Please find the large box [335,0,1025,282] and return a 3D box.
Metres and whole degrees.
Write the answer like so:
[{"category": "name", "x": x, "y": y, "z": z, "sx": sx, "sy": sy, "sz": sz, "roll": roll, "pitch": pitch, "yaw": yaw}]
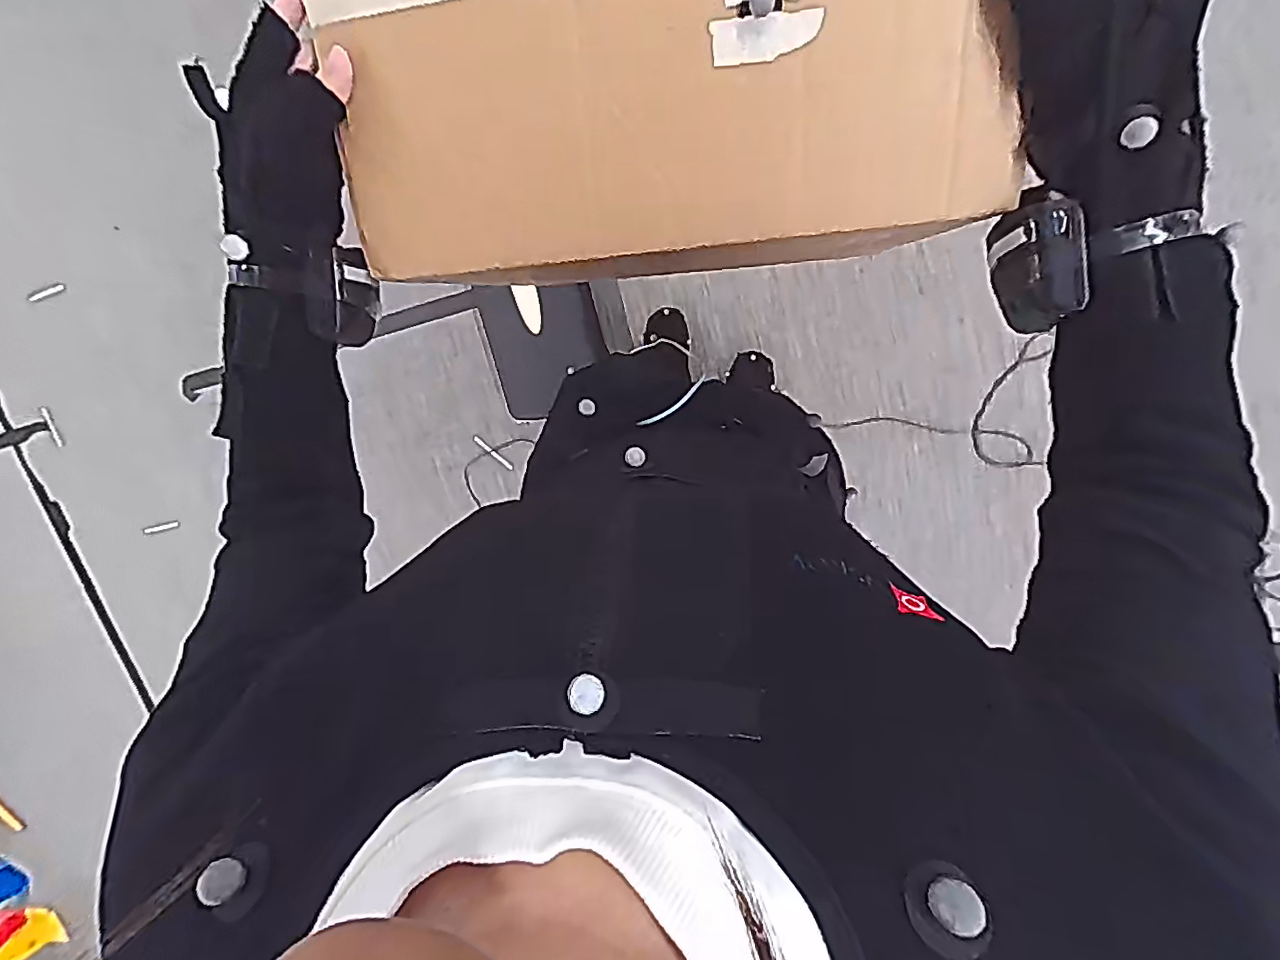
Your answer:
[{"category": "large box", "x": 0.025, "y": -0.350, "z": 0.442, "sx": 0.408, "sy": 0.320, "sz": 0.320, "roll": -2, "pitch": 109, "yaw": 10}]
